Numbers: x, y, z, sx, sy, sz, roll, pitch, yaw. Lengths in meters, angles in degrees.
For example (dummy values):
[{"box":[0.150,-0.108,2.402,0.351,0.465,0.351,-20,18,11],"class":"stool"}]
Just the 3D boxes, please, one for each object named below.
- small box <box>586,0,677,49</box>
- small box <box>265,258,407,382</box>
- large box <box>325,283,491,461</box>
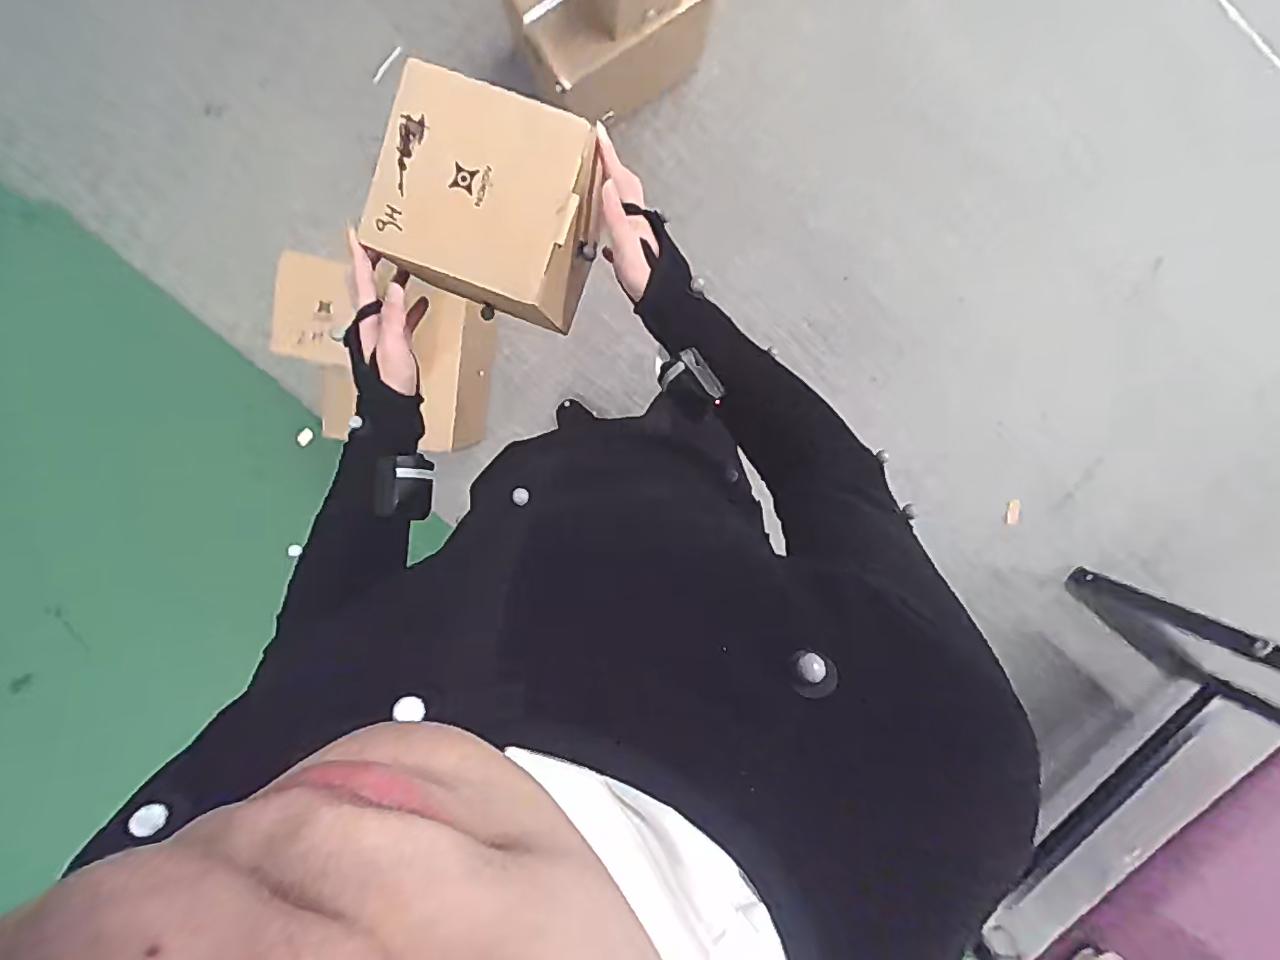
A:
[{"box":[-0.031,-1.029,1.079,0.168,0.176,0.179,-29,100,3],"class":"small box"},{"box":[-0.553,-0.287,1.008,0.168,0.176,0.179,12,98,-4],"class":"small box"},{"box":[-0.591,-0.284,1.423,0.320,0.320,0.408,7,100,-2],"class":"large box"}]
